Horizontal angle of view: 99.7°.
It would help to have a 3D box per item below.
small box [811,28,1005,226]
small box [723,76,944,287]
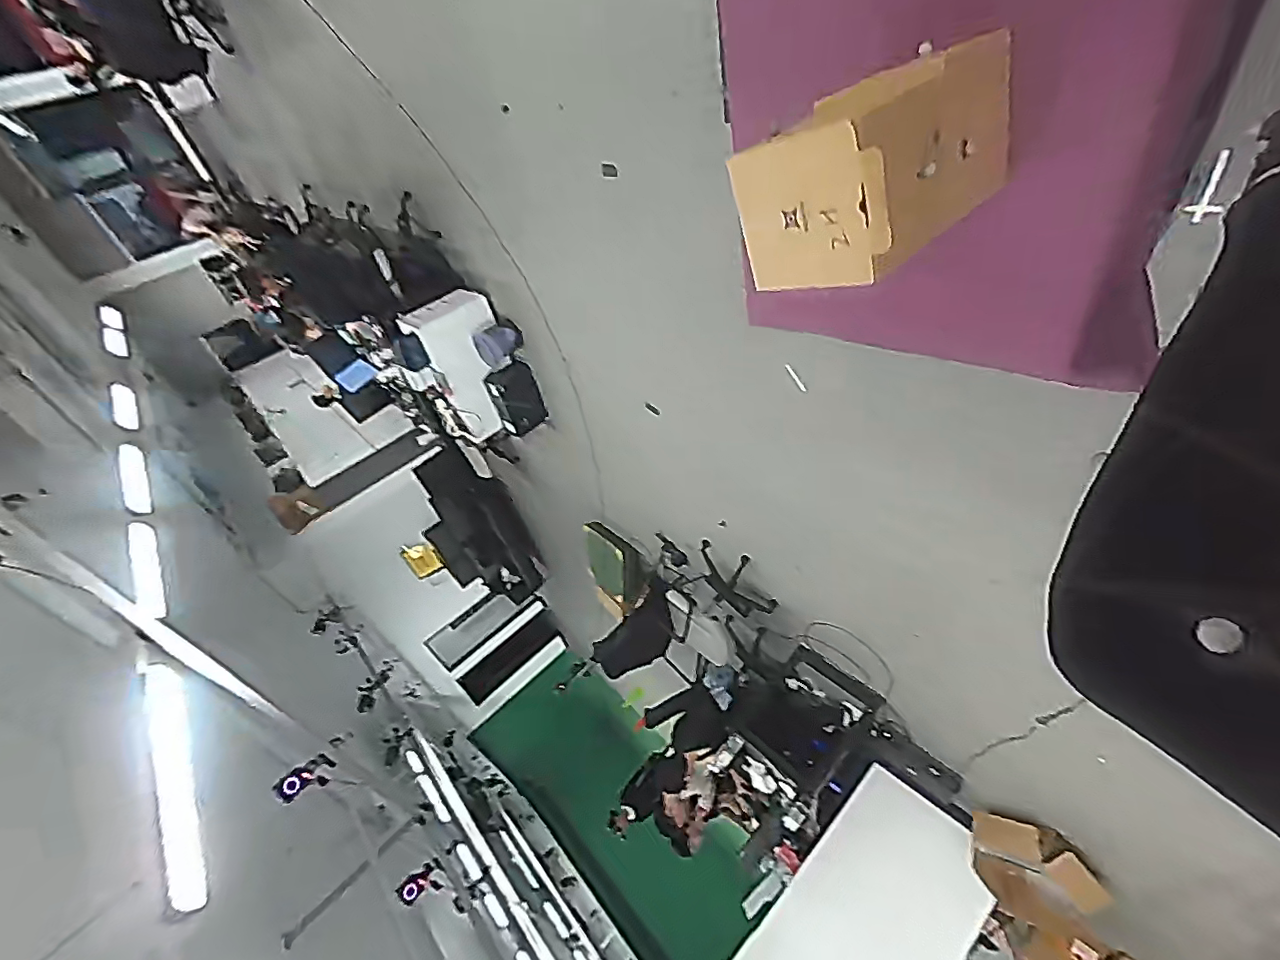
[{"bbox_3d":[0.355,-0.448,0.713,0.168,0.176,0.179,21,141,49],"label":"small box"},{"bbox_3d":[0.235,-0.350,0.654,0.179,0.176,0.168,20,141,50],"label":"small box"}]
